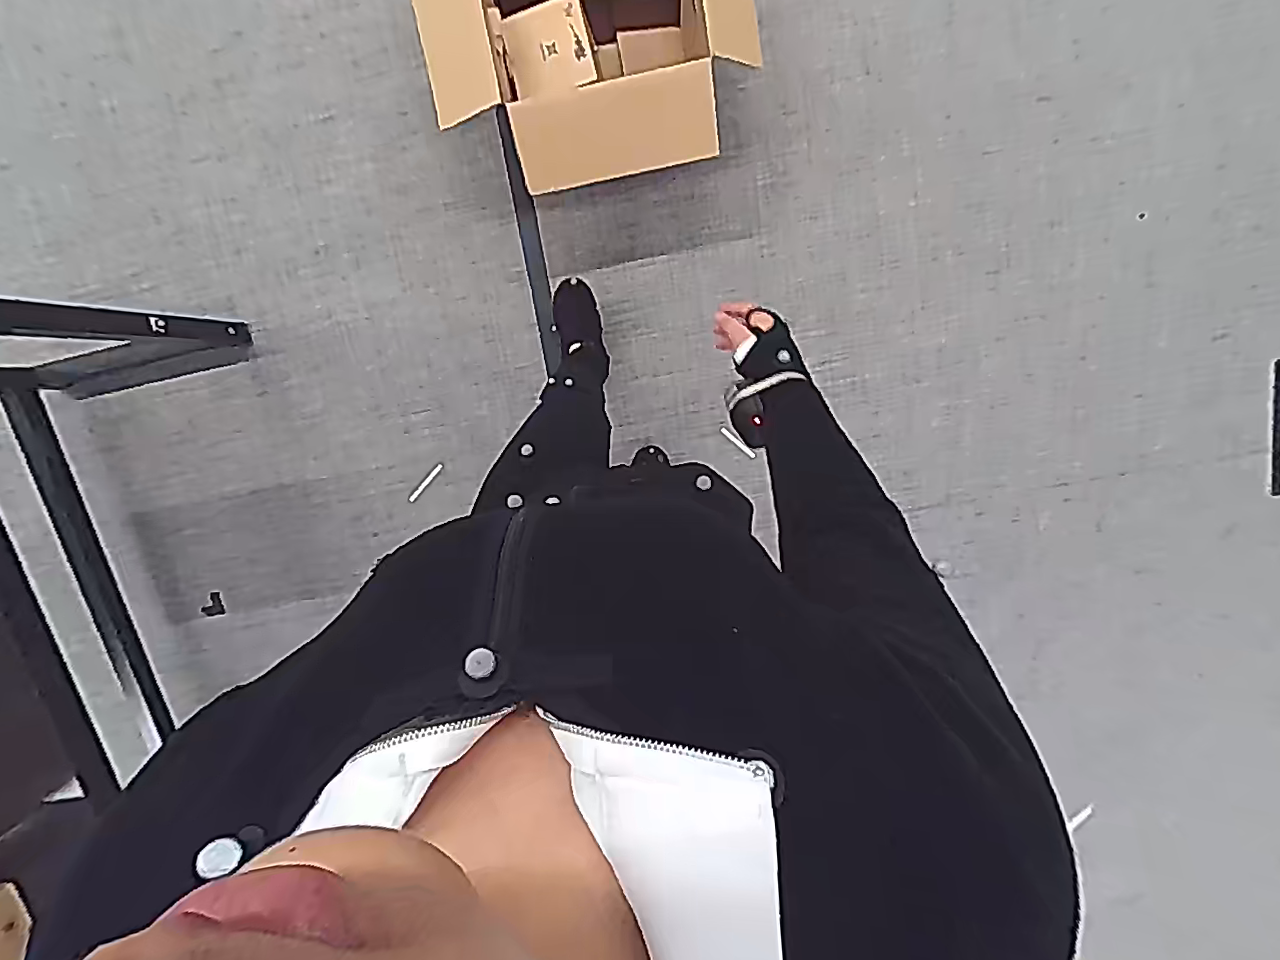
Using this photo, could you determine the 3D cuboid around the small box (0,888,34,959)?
[{"bbox_3d":[-1.105,0.767,0.827,0.179,0.176,0.168,-11,100,4],"label":"small box"}]
